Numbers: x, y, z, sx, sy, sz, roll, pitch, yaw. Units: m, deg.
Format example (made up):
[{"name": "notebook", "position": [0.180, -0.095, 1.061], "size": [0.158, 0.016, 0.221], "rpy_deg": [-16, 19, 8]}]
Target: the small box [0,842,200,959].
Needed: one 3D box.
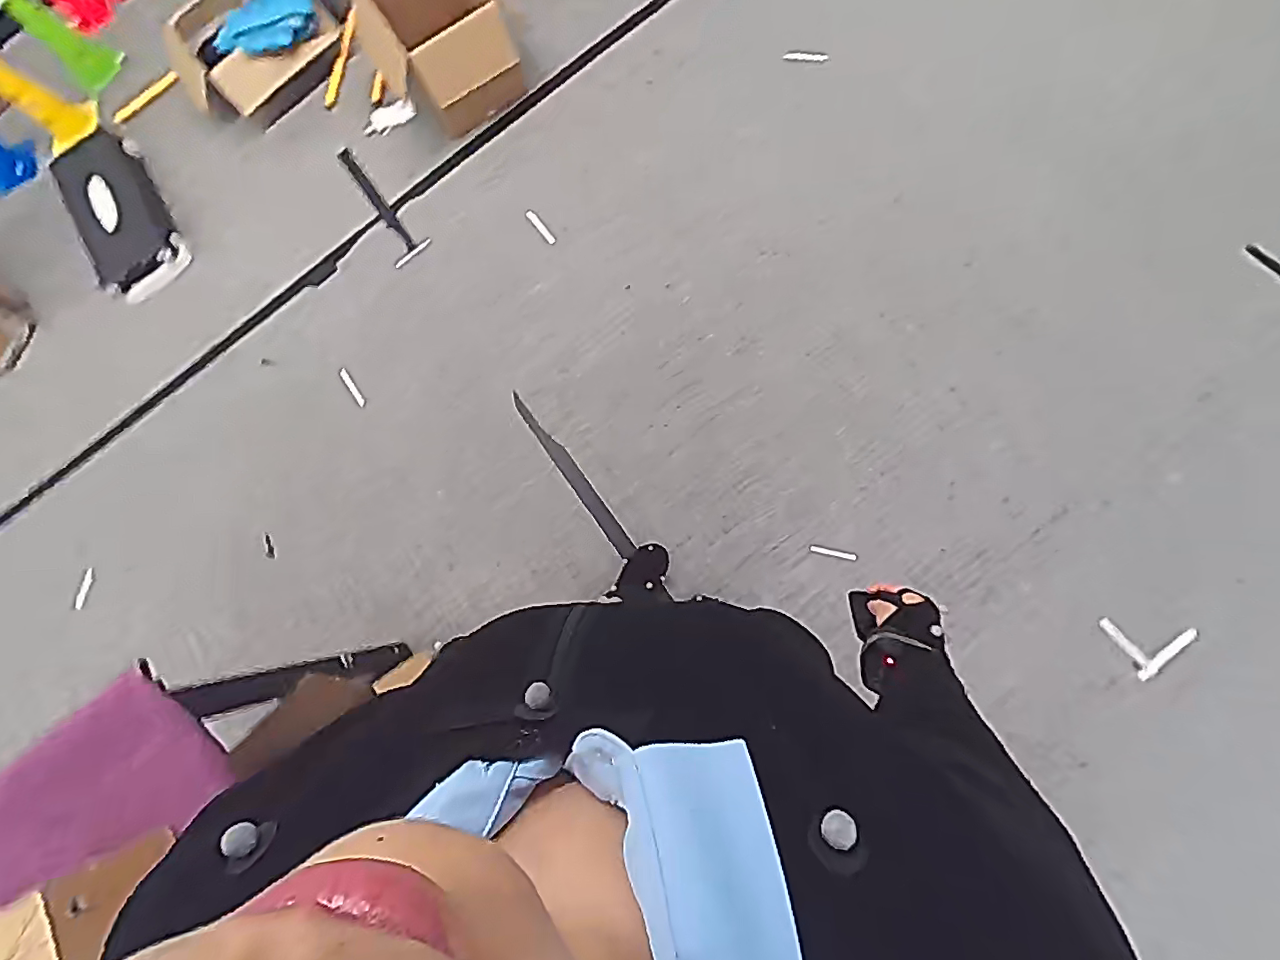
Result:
[{"name": "small box", "position": [-0.730, 0.627, 0.703], "size": [0.168, 0.176, 0.179], "rpy_deg": [-33, 76, 1]}]
